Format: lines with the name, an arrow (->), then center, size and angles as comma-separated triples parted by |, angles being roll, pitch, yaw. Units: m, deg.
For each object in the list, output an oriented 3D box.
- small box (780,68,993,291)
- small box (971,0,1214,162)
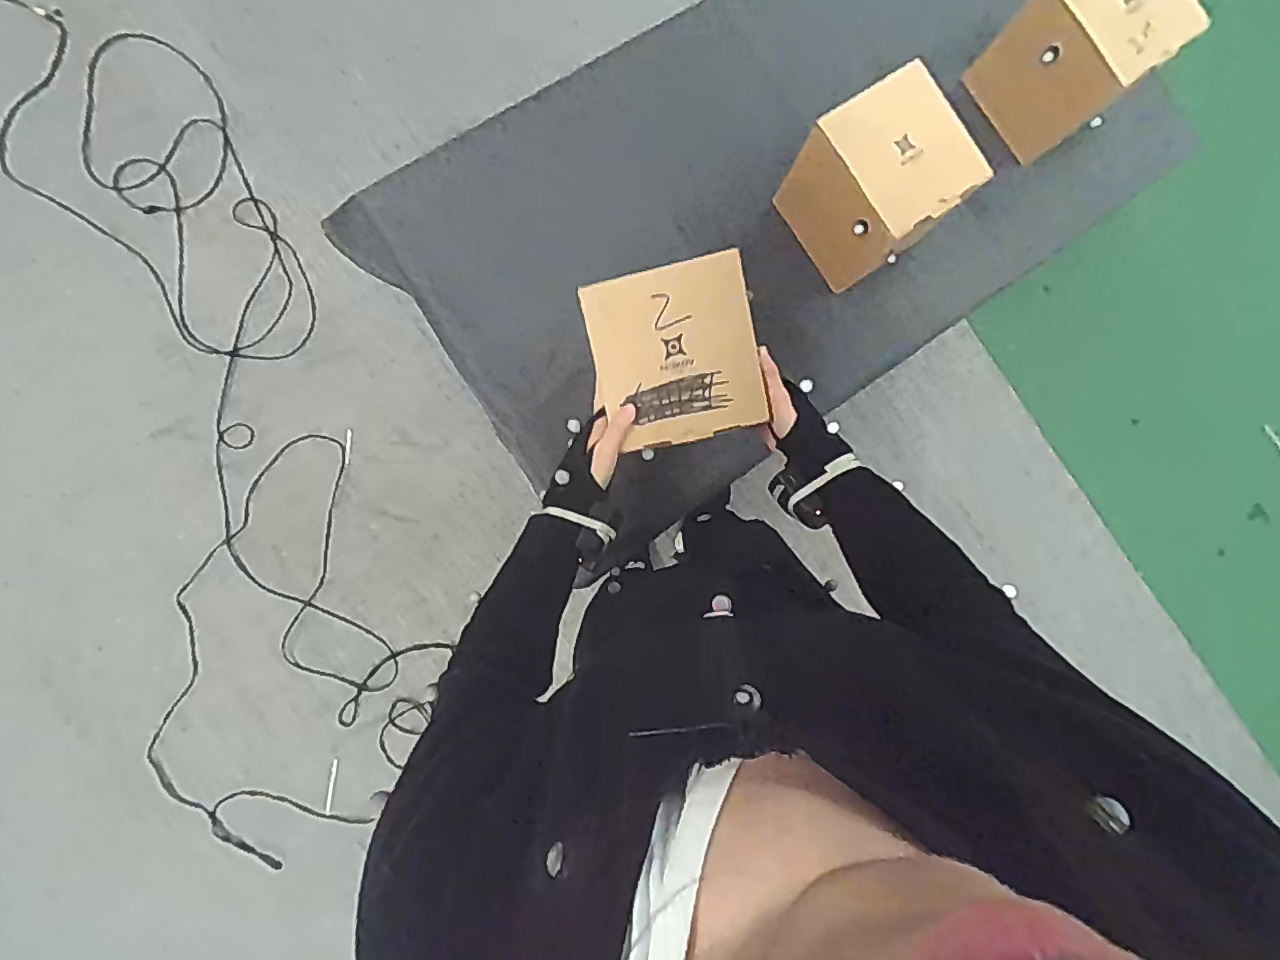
small box -> 0.325, -0.400, 0.751 | 0.168, 0.176, 0.179 | -34, 90, -6
small box -> 0.634, -0.615, 0.783 | 0.168, 0.176, 0.179 | -36, 90, -4
